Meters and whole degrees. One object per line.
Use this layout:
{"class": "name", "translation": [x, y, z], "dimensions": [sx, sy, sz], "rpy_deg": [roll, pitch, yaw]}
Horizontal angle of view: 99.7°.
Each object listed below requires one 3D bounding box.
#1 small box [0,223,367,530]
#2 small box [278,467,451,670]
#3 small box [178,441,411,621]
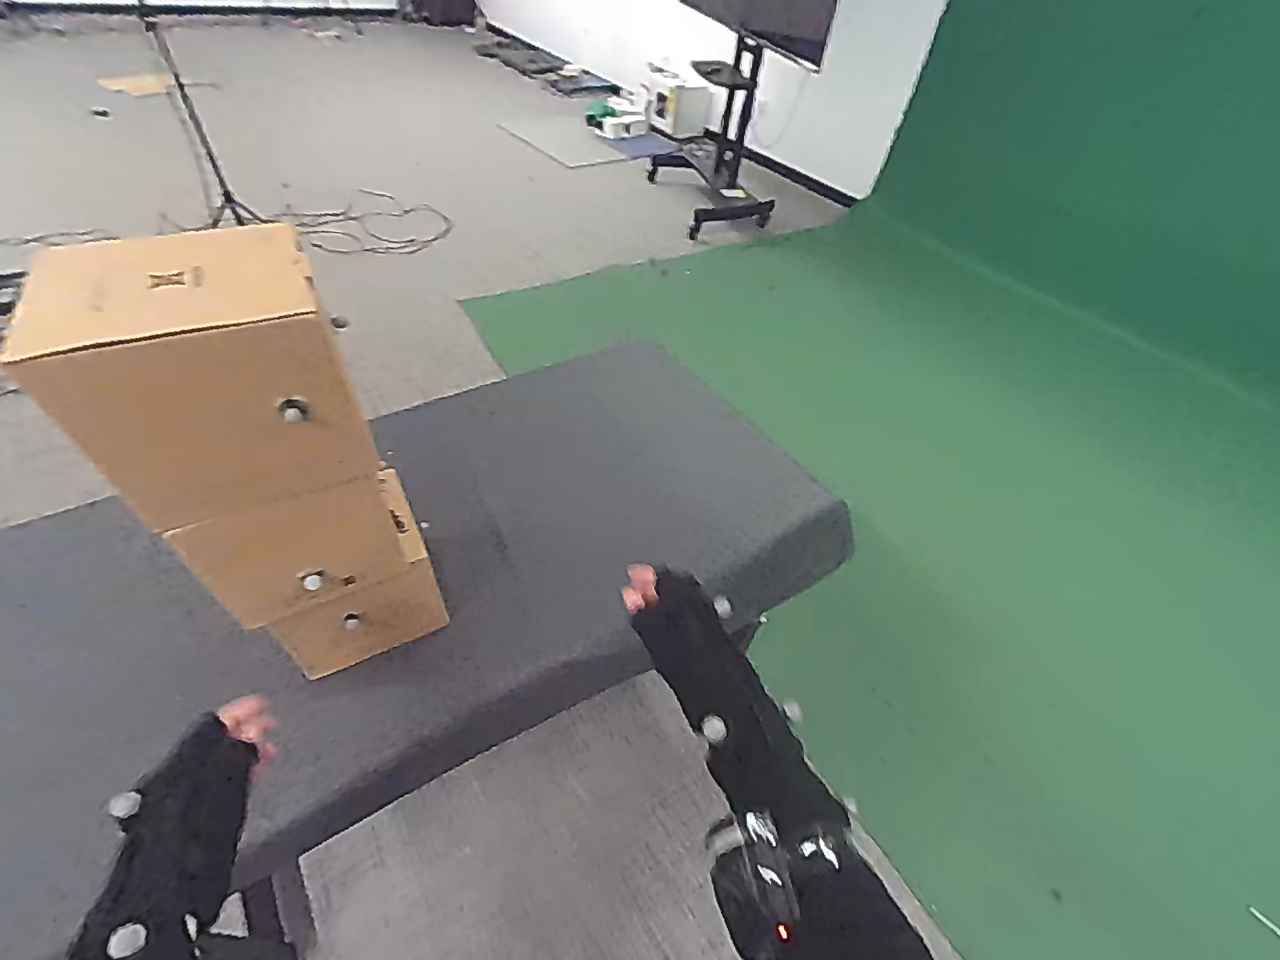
{"class": "small box", "translation": [-0.351, -0.089, 0.457], "dimensions": [0.179, 0.176, 0.168], "rpy_deg": [-21, 51, -21]}
{"class": "small box", "translation": [-0.370, 0.117, 0.710], "dimensions": [0.179, 0.176, 0.168], "rpy_deg": [-21, 53, -22]}
{"class": "small box", "translation": [-0.370, 0.015, 0.581], "dimensions": [0.168, 0.176, 0.179], "rpy_deg": [-25, 53, -25]}
